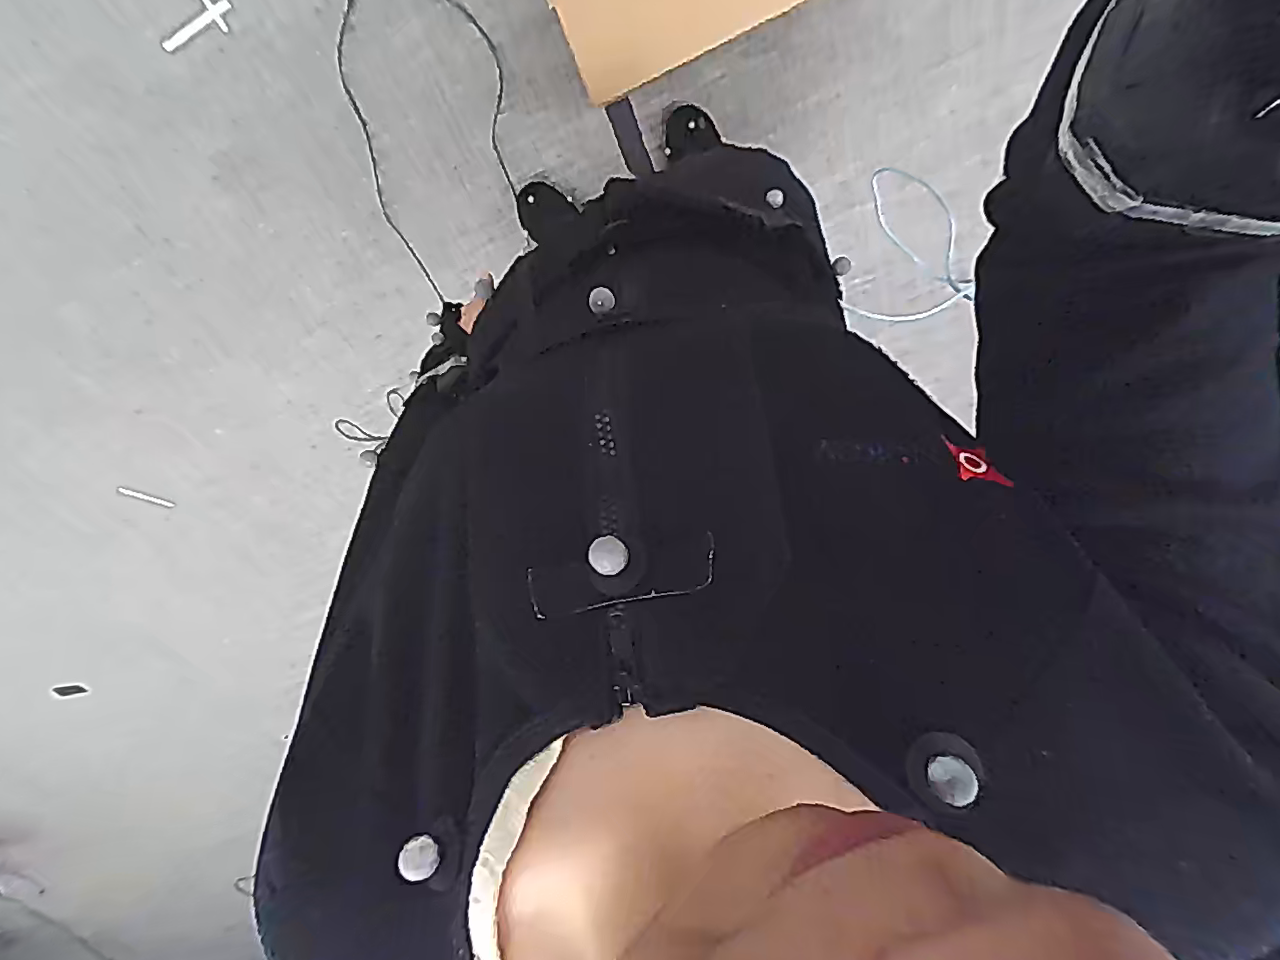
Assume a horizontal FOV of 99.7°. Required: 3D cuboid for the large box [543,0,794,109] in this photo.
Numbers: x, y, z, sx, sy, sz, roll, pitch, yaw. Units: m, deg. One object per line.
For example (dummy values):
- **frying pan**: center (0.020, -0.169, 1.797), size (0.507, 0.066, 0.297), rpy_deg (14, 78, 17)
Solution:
- **large box**: center (0.035, -0.813, 0.799), size (0.408, 0.320, 0.320), rpy_deg (-21, 123, 11)
